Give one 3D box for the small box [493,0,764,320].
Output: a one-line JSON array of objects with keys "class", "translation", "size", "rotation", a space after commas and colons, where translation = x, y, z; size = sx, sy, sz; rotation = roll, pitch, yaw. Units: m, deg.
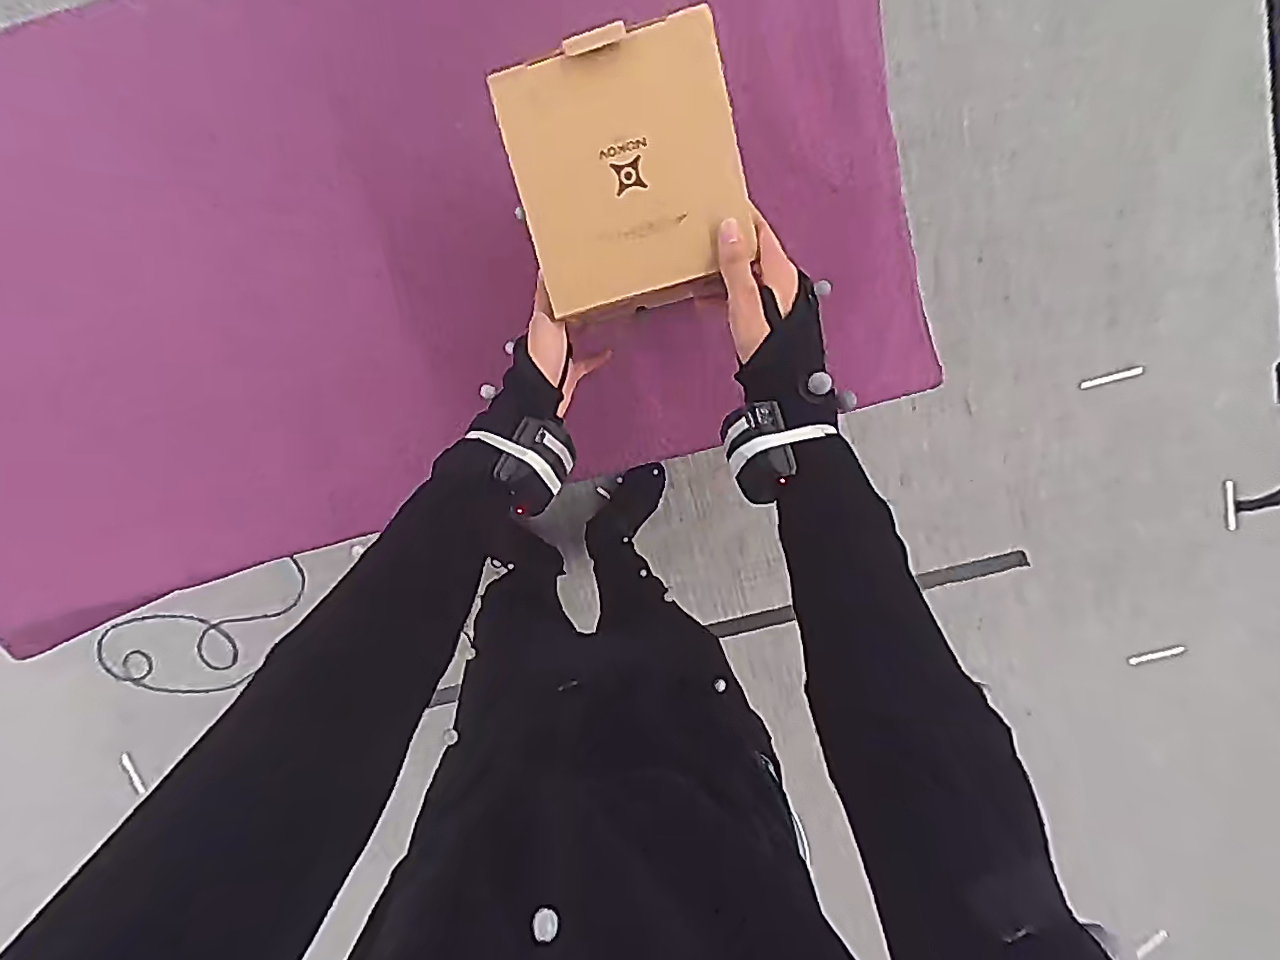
[{"class": "small box", "translation": [-0.004, -0.246, 0.464], "size": [0.168, 0.176, 0.179], "rotation": [-13, 103, 6]}]
